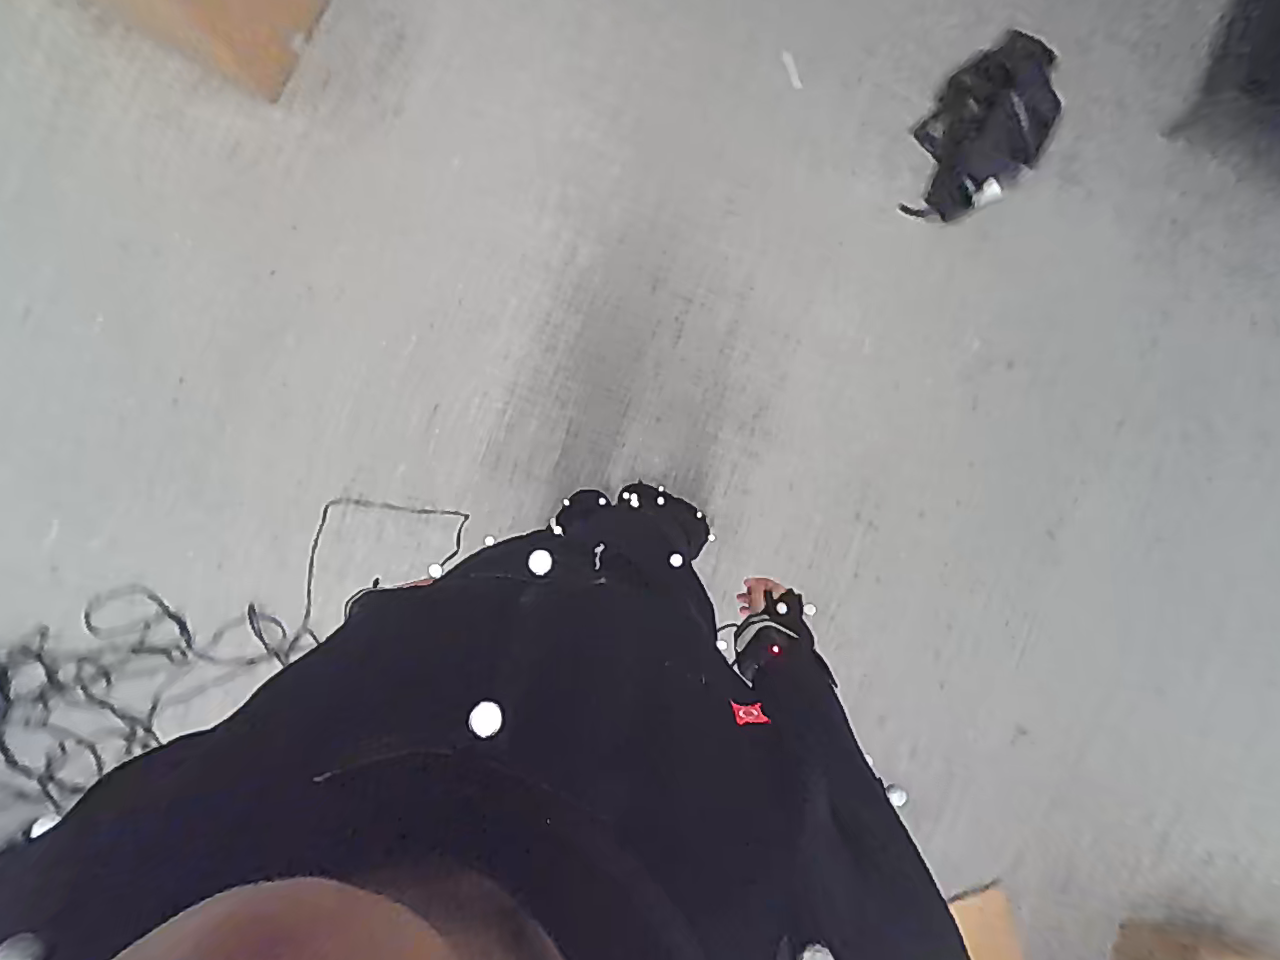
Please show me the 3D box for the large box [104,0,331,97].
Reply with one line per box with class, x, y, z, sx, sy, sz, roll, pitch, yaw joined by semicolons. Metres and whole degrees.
large box;-0.978;-1.141;1.153;0.408;0.320;0.320;27;90;-4
